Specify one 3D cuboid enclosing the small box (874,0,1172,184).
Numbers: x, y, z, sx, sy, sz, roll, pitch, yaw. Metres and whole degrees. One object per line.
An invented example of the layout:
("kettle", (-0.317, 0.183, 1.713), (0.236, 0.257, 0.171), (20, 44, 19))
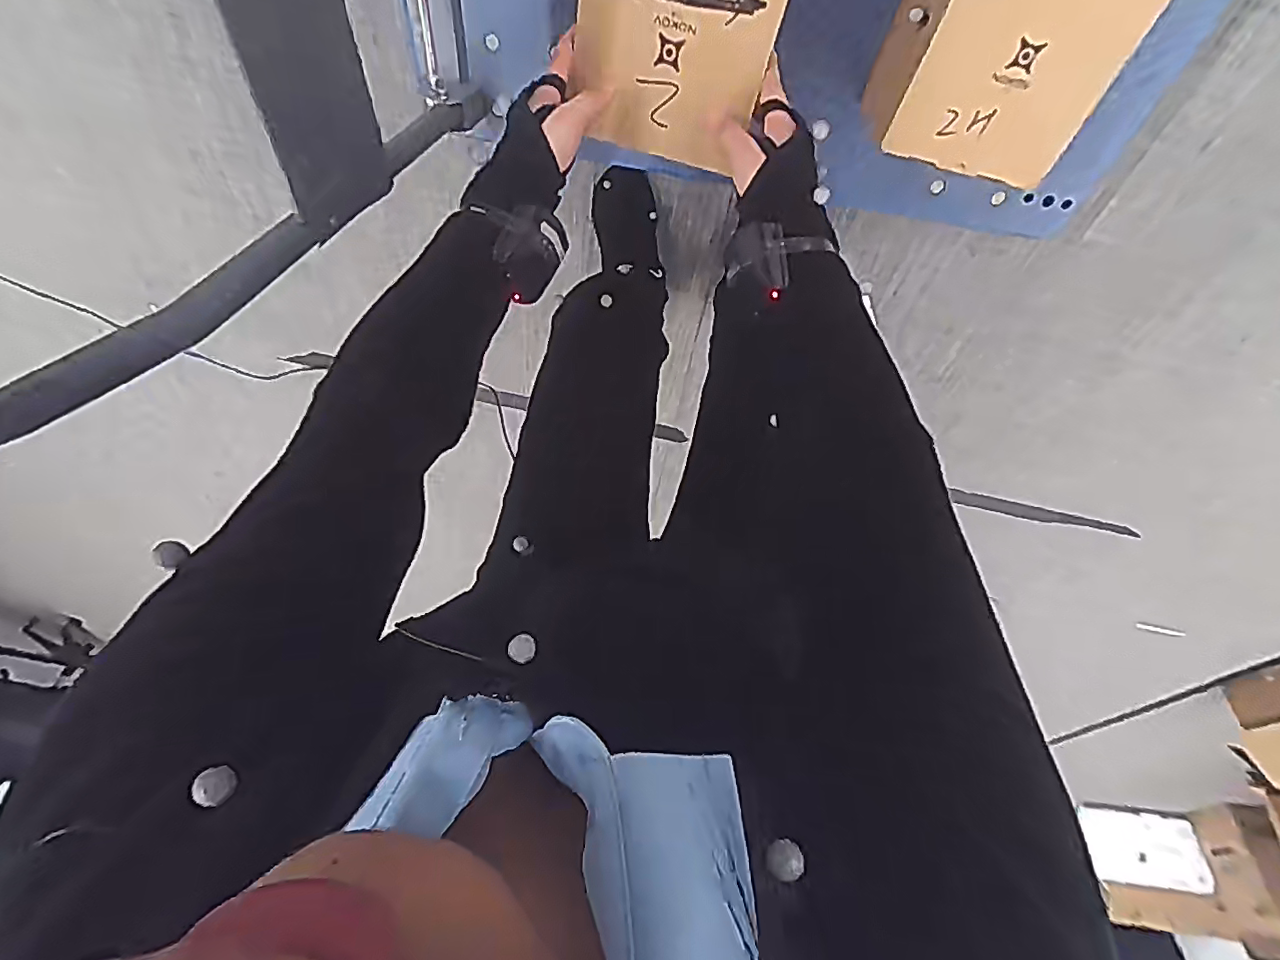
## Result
("small box", (0.349, -0.428, 0.525), (0.168, 0.176, 0.179), (14, 139, -2))
